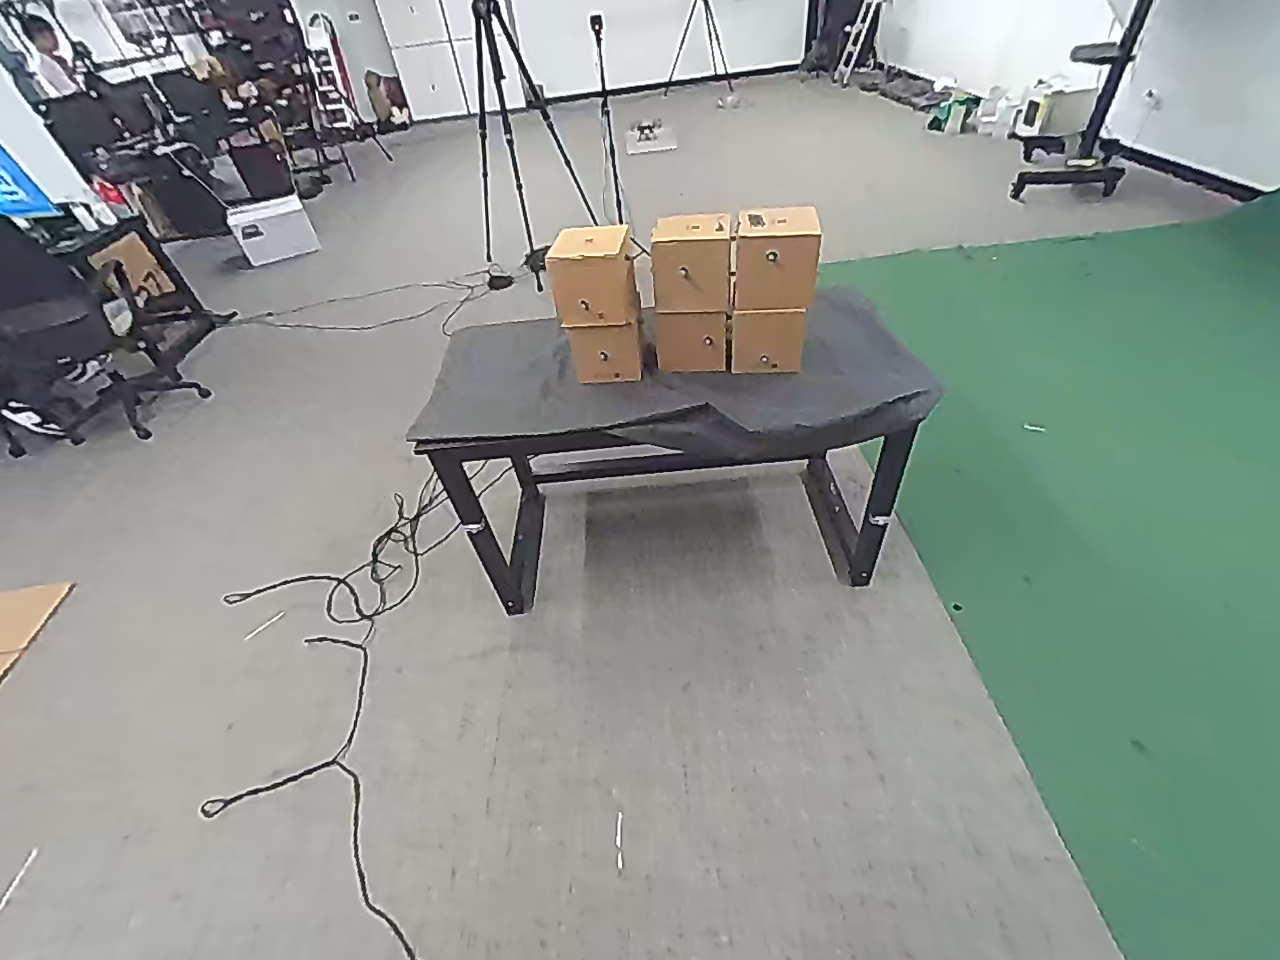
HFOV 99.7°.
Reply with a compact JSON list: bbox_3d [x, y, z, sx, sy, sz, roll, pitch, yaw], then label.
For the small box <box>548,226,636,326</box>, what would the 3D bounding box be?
[{"bbox_3d":[-0.104,-0.484,1.288,0.168,0.176,0.179,0,46,10],"label":"small box"}]
